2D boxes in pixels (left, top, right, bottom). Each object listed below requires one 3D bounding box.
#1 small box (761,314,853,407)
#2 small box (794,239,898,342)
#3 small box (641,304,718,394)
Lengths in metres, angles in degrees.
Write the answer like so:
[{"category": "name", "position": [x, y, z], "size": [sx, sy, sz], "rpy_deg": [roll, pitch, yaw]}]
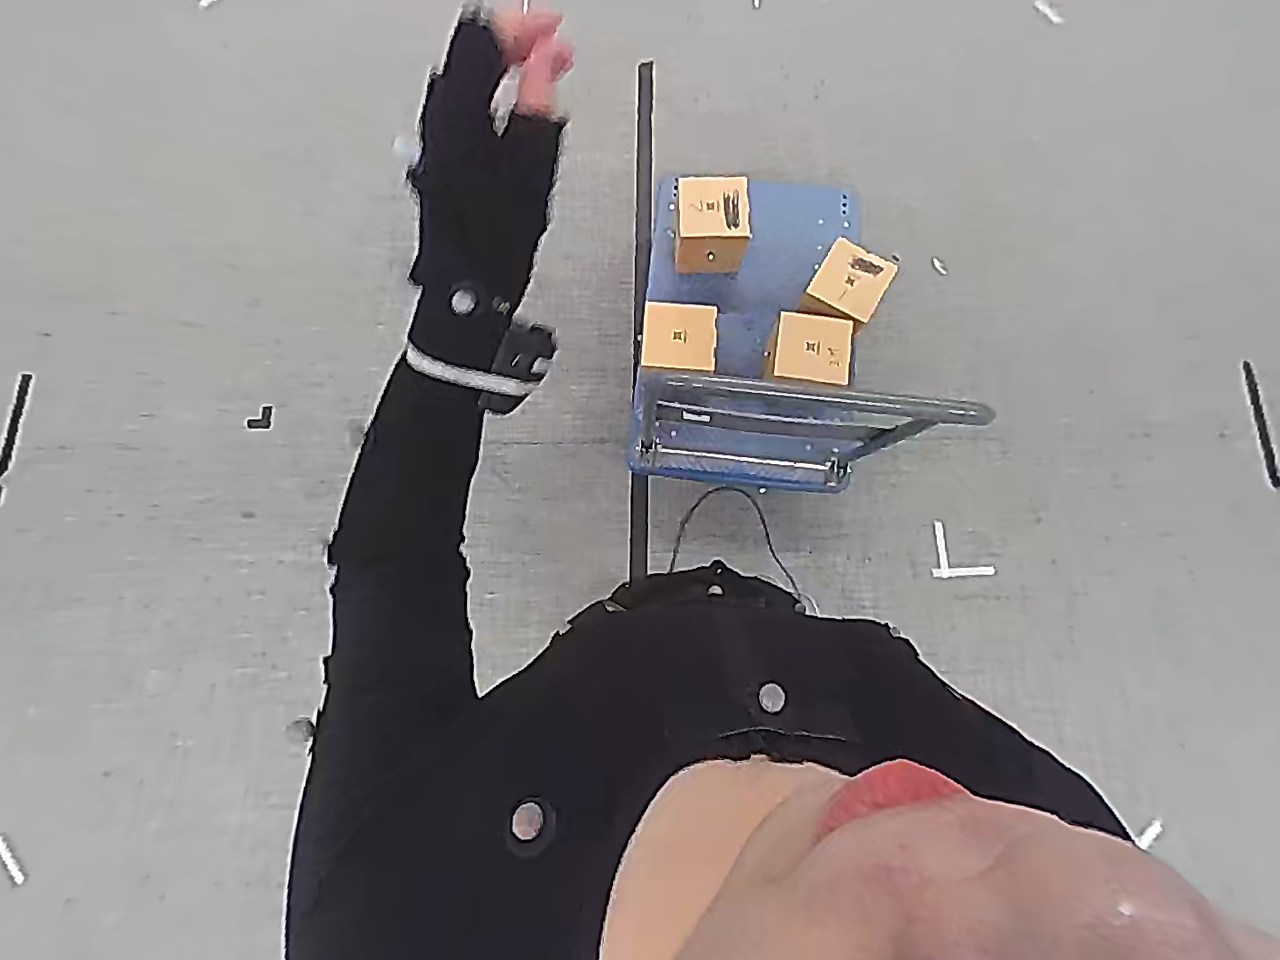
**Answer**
[{"category": "small box", "position": [0.410, -0.292, 1.353], "size": [0.179, 0.176, 0.168], "rpy_deg": [9, 80, 3]}, {"category": "small box", "position": [0.515, -0.466, 1.384], "size": [0.168, 0.176, 0.179], "rpy_deg": [31, 82, 6]}, {"category": "small box", "position": [0.095, -0.325, 1.363], "size": [0.179, 0.176, 0.168], "rpy_deg": [4, 80, 0]}]
